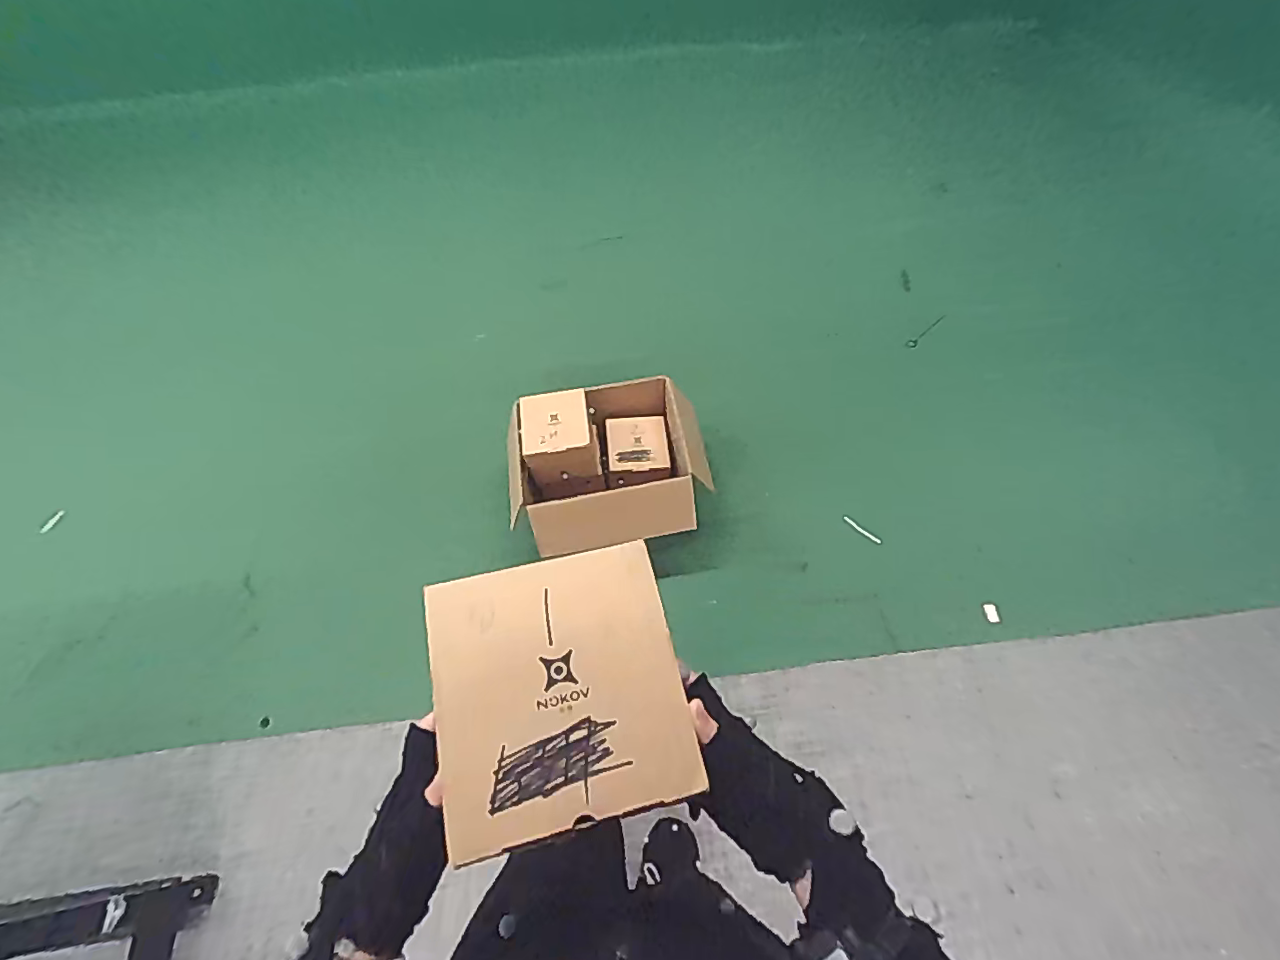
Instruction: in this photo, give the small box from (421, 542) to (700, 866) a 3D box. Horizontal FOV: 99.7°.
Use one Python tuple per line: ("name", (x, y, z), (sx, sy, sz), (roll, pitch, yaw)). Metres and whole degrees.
("small box", (-0.063, 0.170, 0.439), (0.168, 0.176, 0.179), (-11, 67, -10))
